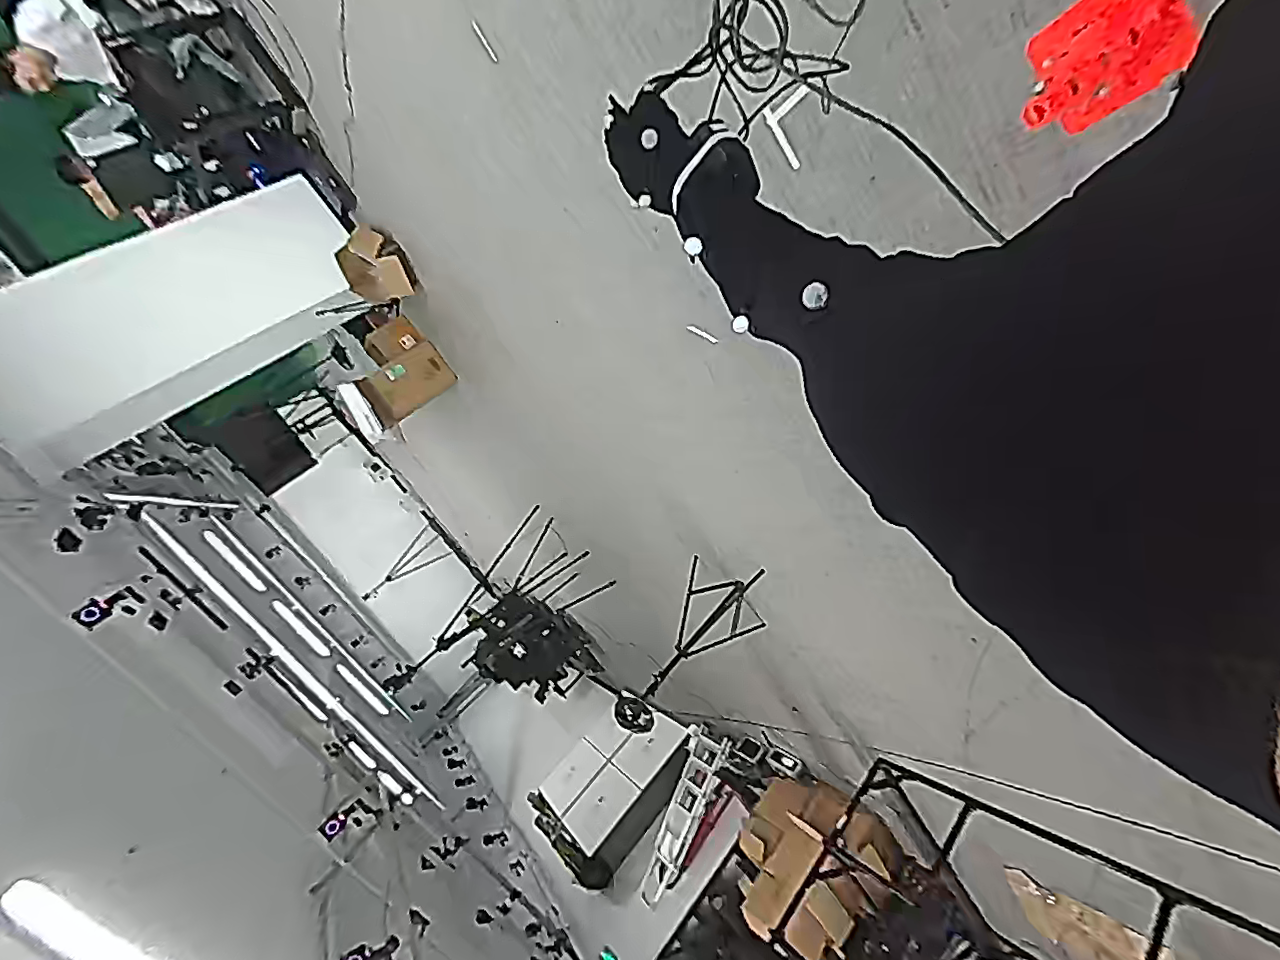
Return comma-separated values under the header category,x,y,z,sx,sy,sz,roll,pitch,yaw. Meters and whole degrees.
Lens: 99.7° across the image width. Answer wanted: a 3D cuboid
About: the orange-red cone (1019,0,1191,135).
category,x,y,z,sx,sy,sz,roll,pitch,yaw
orange-red cone,0.703,-0.651,0.882,0.198,0.360,0.199,53,153,-12
